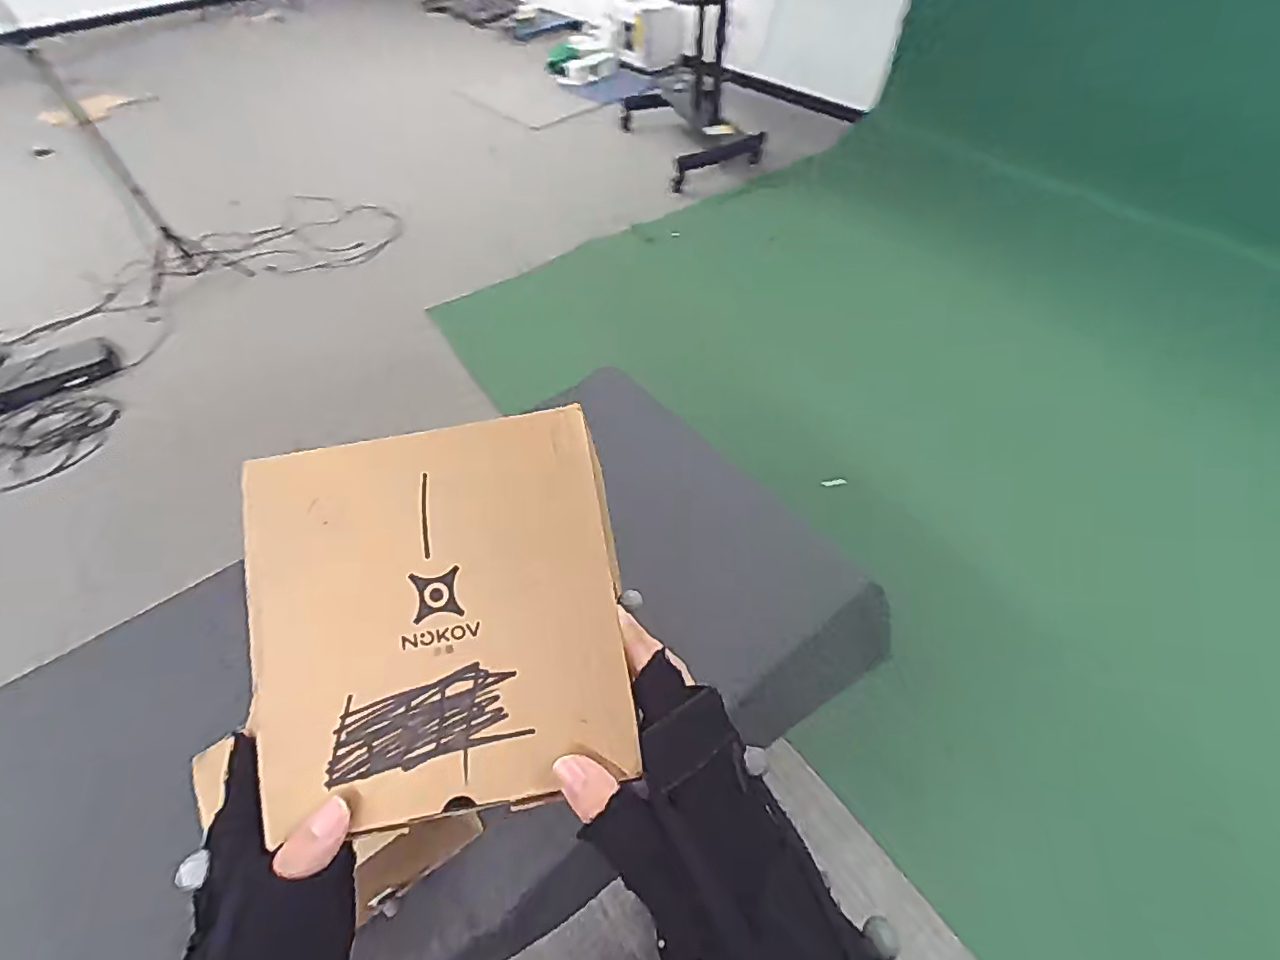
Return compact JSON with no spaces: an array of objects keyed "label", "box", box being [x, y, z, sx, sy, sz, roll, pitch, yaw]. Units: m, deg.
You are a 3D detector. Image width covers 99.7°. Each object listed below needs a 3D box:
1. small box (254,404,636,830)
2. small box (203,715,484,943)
[{"label":"small box","box":[-0.095,0.072,0.332,0.168,0.176,0.179,-10,79,-2]},{"label":"small box","box":[-0.284,0.314,0.546,0.168,0.176,0.179,-33,58,-19]}]
